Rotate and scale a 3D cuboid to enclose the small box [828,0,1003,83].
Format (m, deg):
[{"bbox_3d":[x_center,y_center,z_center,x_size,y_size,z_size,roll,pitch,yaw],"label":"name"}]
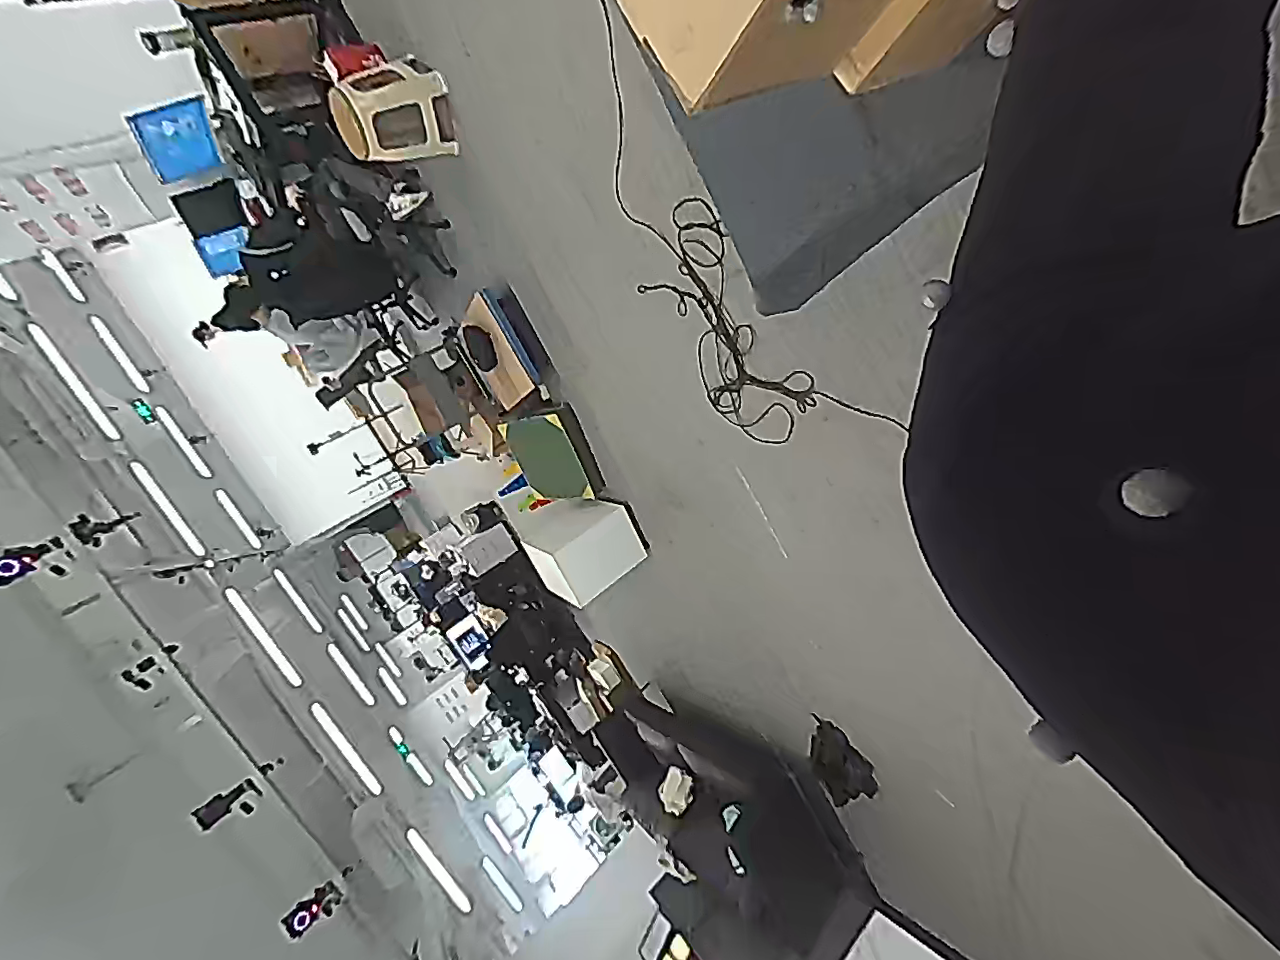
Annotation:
[{"bbox_3d":[0.213,-0.446,0.398,0.179,0.176,0.168,56,155,-1],"label":"small box"}]

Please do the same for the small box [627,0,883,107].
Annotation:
[{"bbox_3d":[0.087,-0.376,0.322,0.168,0.176,0.179,57,153,-5],"label":"small box"}]
